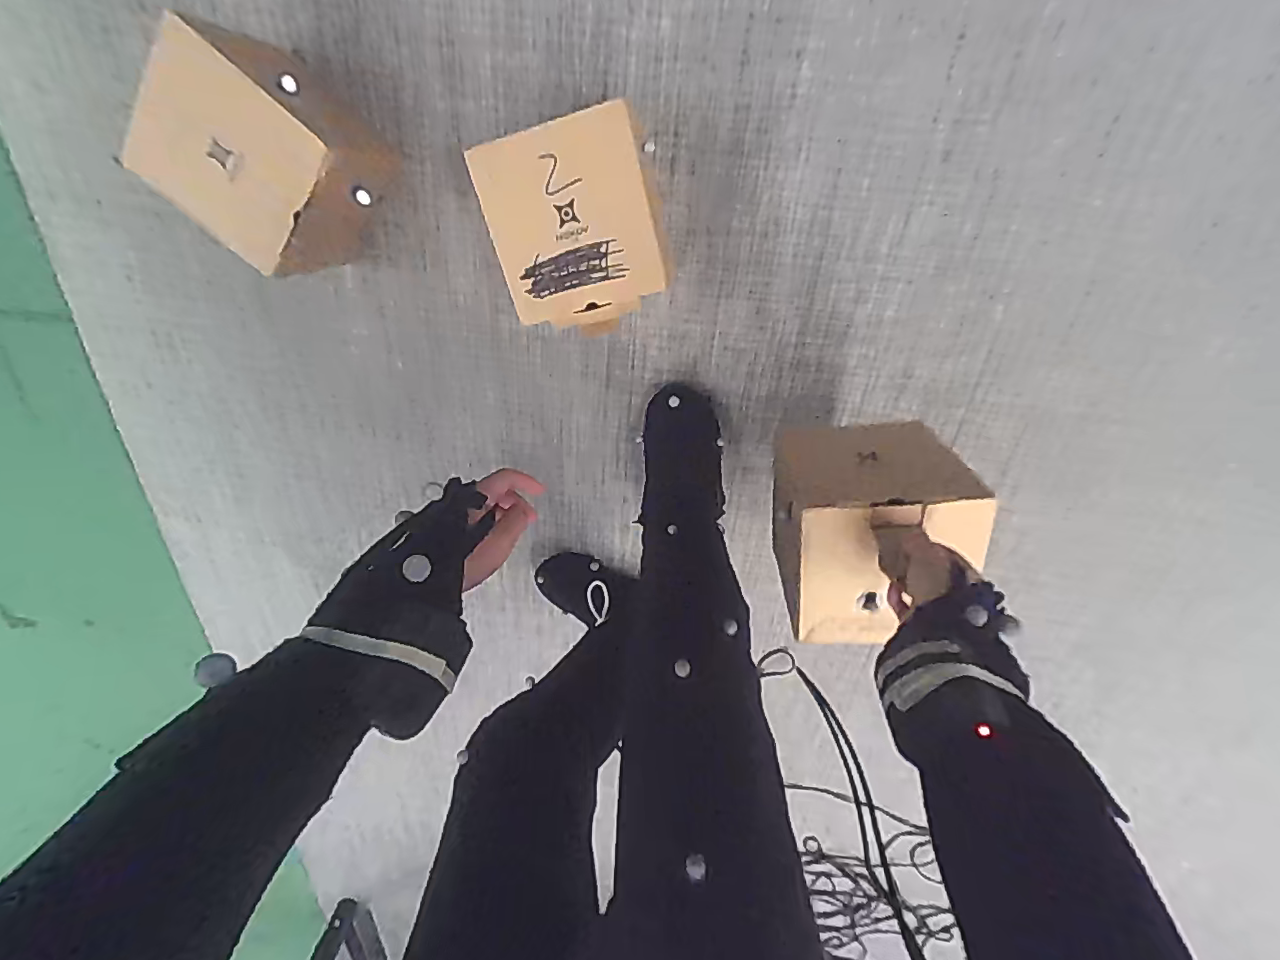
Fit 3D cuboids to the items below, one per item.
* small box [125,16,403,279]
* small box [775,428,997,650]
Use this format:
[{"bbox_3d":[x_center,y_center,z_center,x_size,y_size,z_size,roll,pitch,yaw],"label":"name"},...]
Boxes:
[{"bbox_3d":[-0.411,-0.364,0.620,0.179,0.176,0.168,39,115,-13],"label":"small box"},{"bbox_3d":[0.238,0.056,0.577,0.168,0.179,0.176,-3,118,7],"label":"small box"}]
